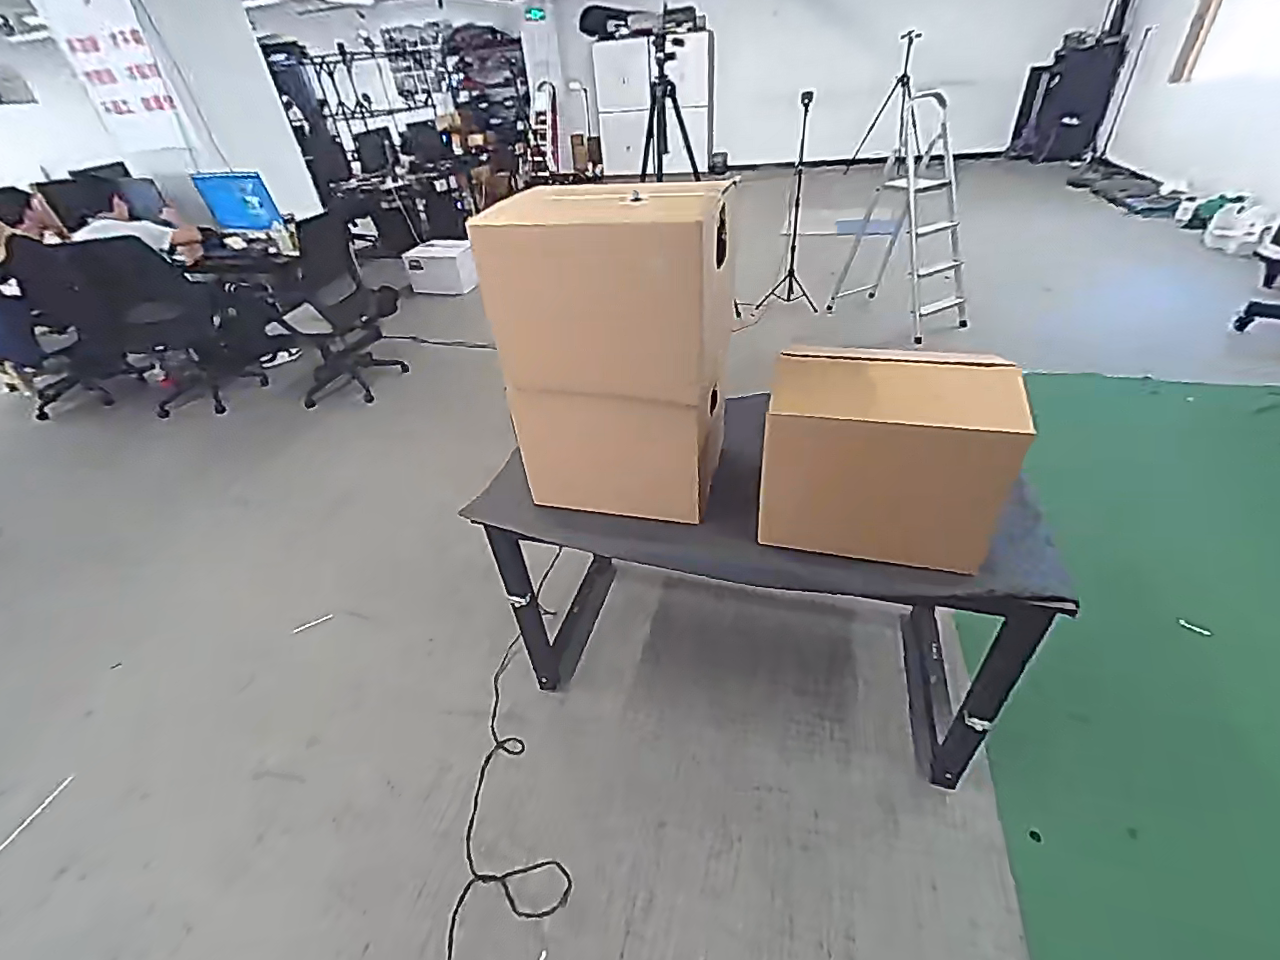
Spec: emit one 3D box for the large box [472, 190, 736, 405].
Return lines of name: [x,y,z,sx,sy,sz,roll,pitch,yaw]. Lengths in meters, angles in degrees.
large box: [-0.044,-0.365,1.049,0.408,0.320,0.320,8,40,15]
